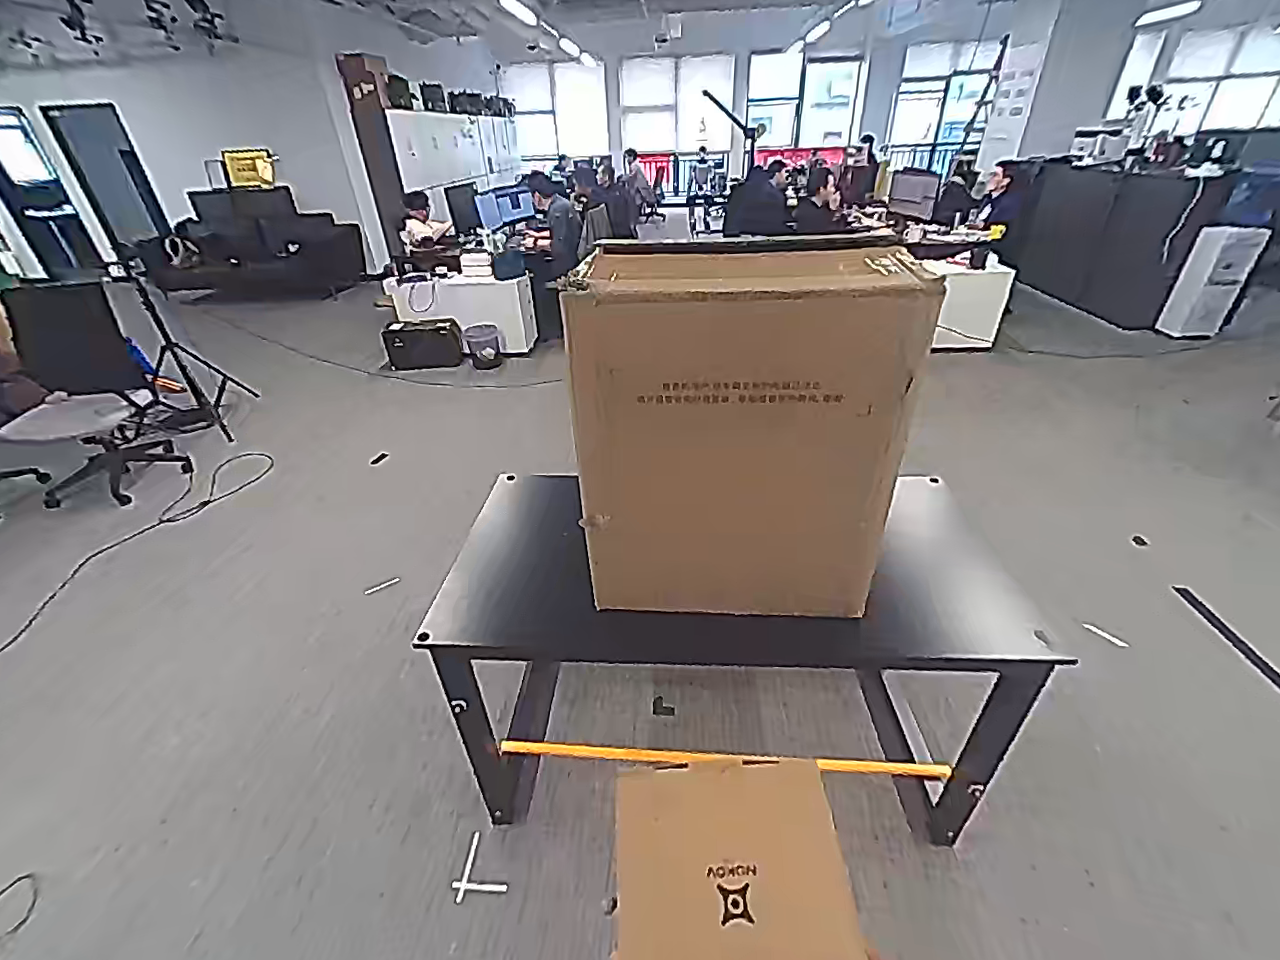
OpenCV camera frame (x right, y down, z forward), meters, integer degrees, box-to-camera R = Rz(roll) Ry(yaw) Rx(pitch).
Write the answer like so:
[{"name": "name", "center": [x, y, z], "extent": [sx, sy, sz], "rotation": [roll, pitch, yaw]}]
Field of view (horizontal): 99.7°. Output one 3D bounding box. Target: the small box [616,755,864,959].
[{"name": "small box", "center": [0.064, 0.345, 0.437], "extent": [0.168, 0.176, 0.179], "rotation": [-2, 46, -1]}]
